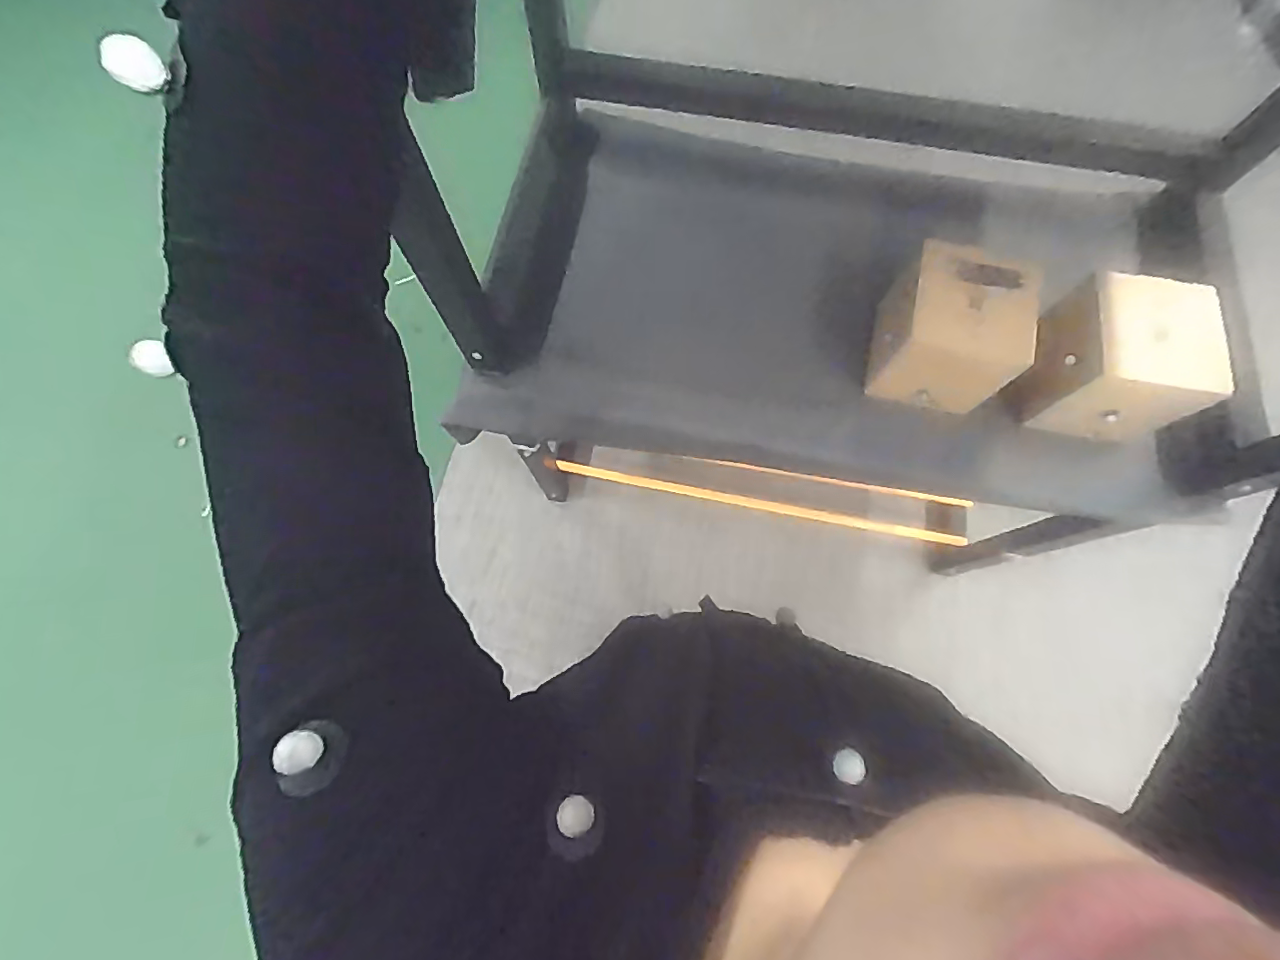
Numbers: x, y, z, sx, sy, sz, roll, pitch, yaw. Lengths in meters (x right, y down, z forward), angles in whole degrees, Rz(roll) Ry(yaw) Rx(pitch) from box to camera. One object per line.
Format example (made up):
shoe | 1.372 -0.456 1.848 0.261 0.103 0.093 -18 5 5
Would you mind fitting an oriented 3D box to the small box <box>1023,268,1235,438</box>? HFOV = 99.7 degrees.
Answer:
small box | 0.709 -0.180 0.809 0.168 0.176 0.179 10 71 4
